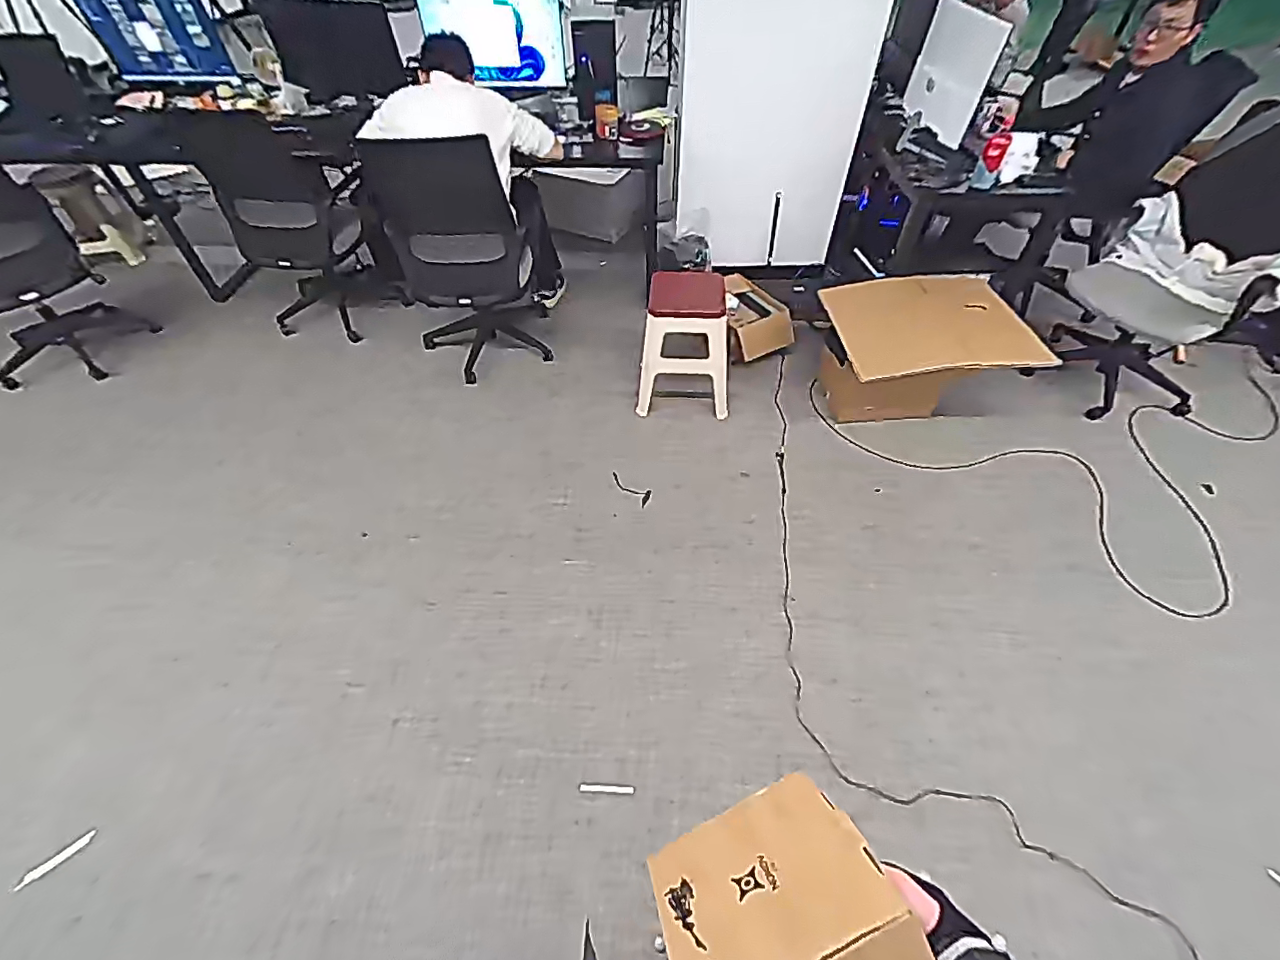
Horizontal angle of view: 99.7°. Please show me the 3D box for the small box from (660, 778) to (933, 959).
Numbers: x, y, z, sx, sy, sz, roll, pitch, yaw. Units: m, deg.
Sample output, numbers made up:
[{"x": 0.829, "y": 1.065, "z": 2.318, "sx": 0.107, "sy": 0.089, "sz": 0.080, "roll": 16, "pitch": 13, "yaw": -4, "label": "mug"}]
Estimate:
[{"x": 0.140, "y": 0.410, "z": 0.461, "sx": 0.179, "sy": 0.168, "sz": 0.176, "roll": -24, "pitch": 95, "yaw": -7, "label": "small box"}]
